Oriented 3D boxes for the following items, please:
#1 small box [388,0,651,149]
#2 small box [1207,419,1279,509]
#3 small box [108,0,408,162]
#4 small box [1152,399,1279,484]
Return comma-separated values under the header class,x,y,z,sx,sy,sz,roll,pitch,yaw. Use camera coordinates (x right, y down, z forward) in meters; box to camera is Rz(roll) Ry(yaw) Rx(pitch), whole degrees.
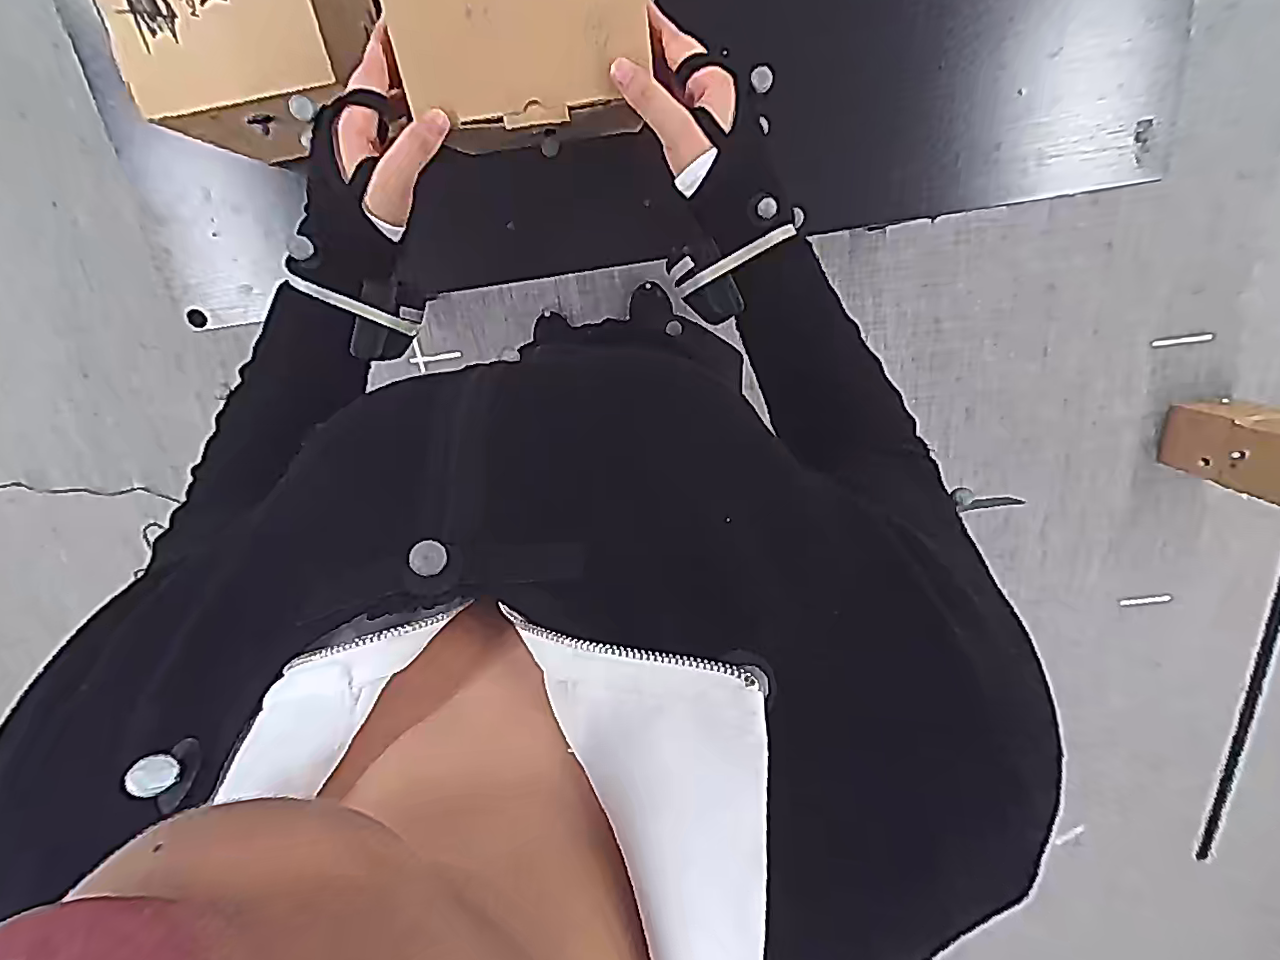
class,x,y,z,sx,sy,sz,roll,pitch,yaw
small box,-0.084,-0.360,0.407,0.168,0.176,0.179,-8,118,1
small box,1.529,-0.045,1.281,0.179,0.176,0.168,-7,108,3
small box,-0.361,-0.432,0.528,0.179,0.176,0.168,-10,109,2
small box,1.522,-0.105,1.432,0.168,0.176,0.179,-6,109,1
